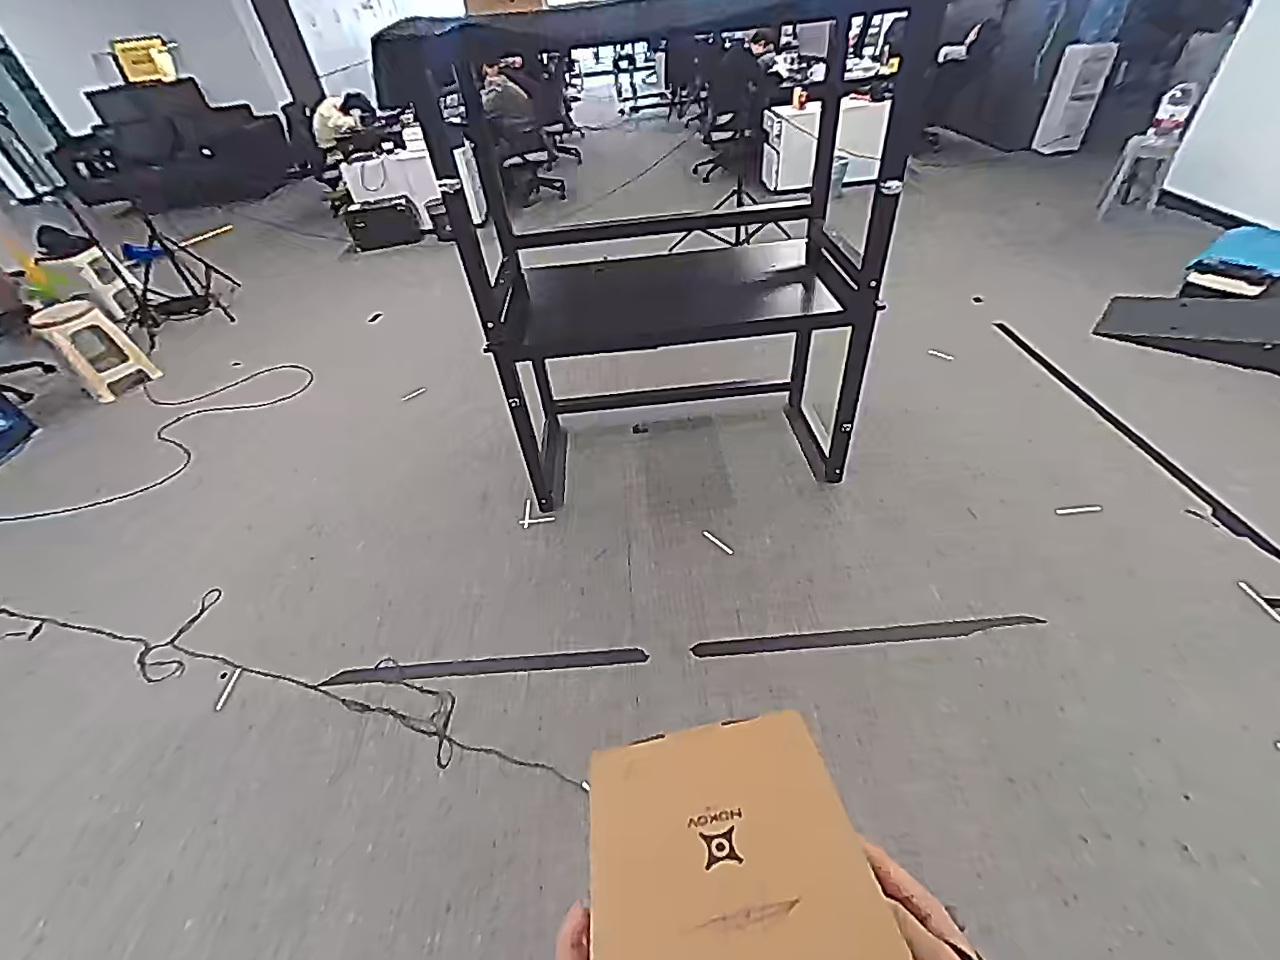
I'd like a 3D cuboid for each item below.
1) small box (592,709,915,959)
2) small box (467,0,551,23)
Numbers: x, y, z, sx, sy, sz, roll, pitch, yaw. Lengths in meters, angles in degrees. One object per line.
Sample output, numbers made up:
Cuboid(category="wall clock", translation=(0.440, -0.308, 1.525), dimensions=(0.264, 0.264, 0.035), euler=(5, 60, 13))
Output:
Cuboid(category="small box", translation=(0.064, 0.297, 0.367), dimensions=(0.168, 0.176, 0.179), euler=(-12, 24, -1))
Cuboid(category="small box", translation=(-0.288, -1.093, 1.151), dimensions=(0.168, 0.176, 0.179), euler=(-4, 40, 0))
